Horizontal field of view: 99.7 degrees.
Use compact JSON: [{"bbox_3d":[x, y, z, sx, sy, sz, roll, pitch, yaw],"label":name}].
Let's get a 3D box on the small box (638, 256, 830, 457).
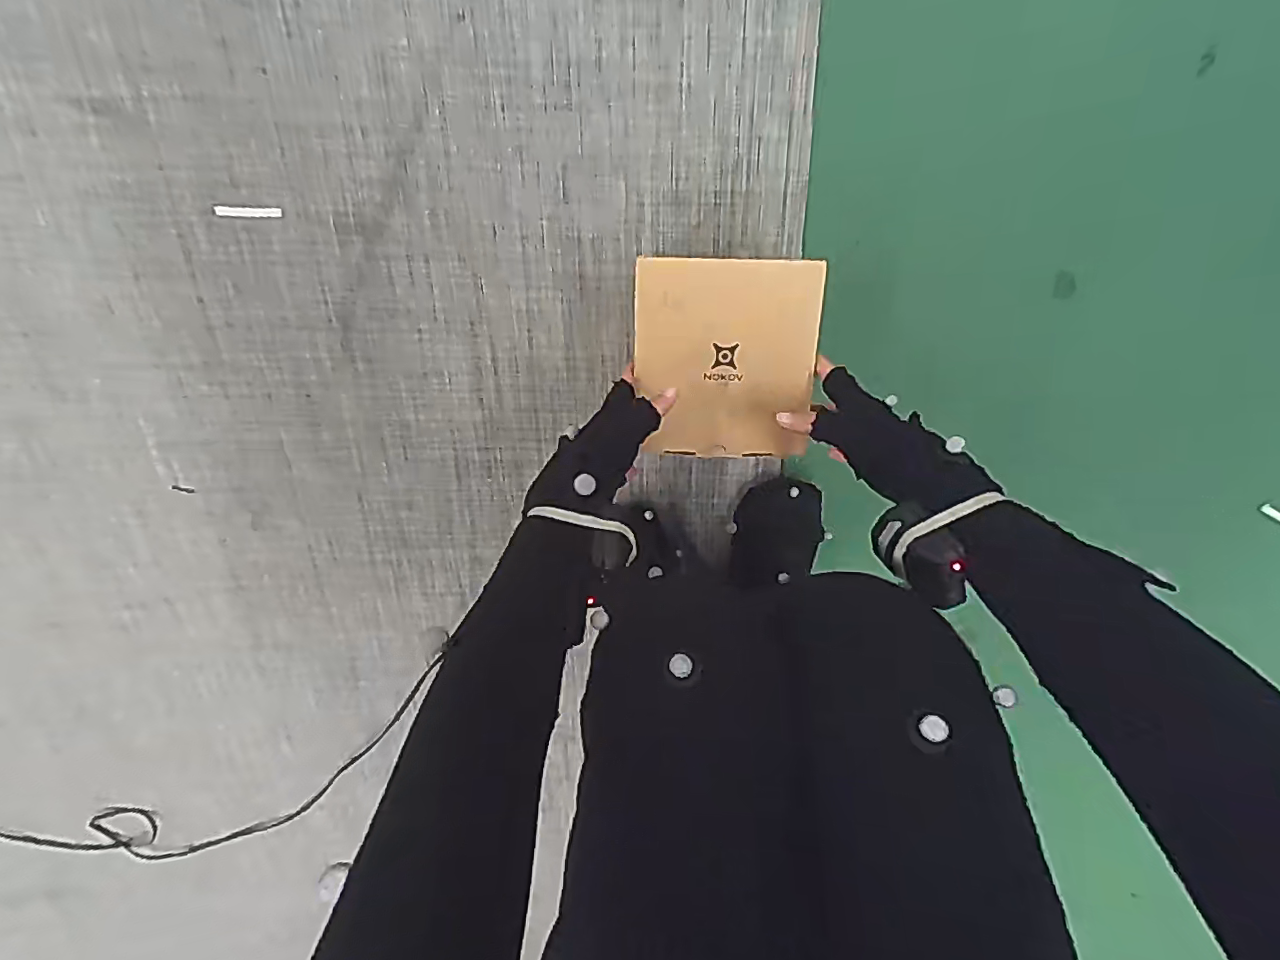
[{"bbox_3d":[0.083,-0.129,0.568,0.168,0.176,0.179,2,106,1],"label":"small box"}]
